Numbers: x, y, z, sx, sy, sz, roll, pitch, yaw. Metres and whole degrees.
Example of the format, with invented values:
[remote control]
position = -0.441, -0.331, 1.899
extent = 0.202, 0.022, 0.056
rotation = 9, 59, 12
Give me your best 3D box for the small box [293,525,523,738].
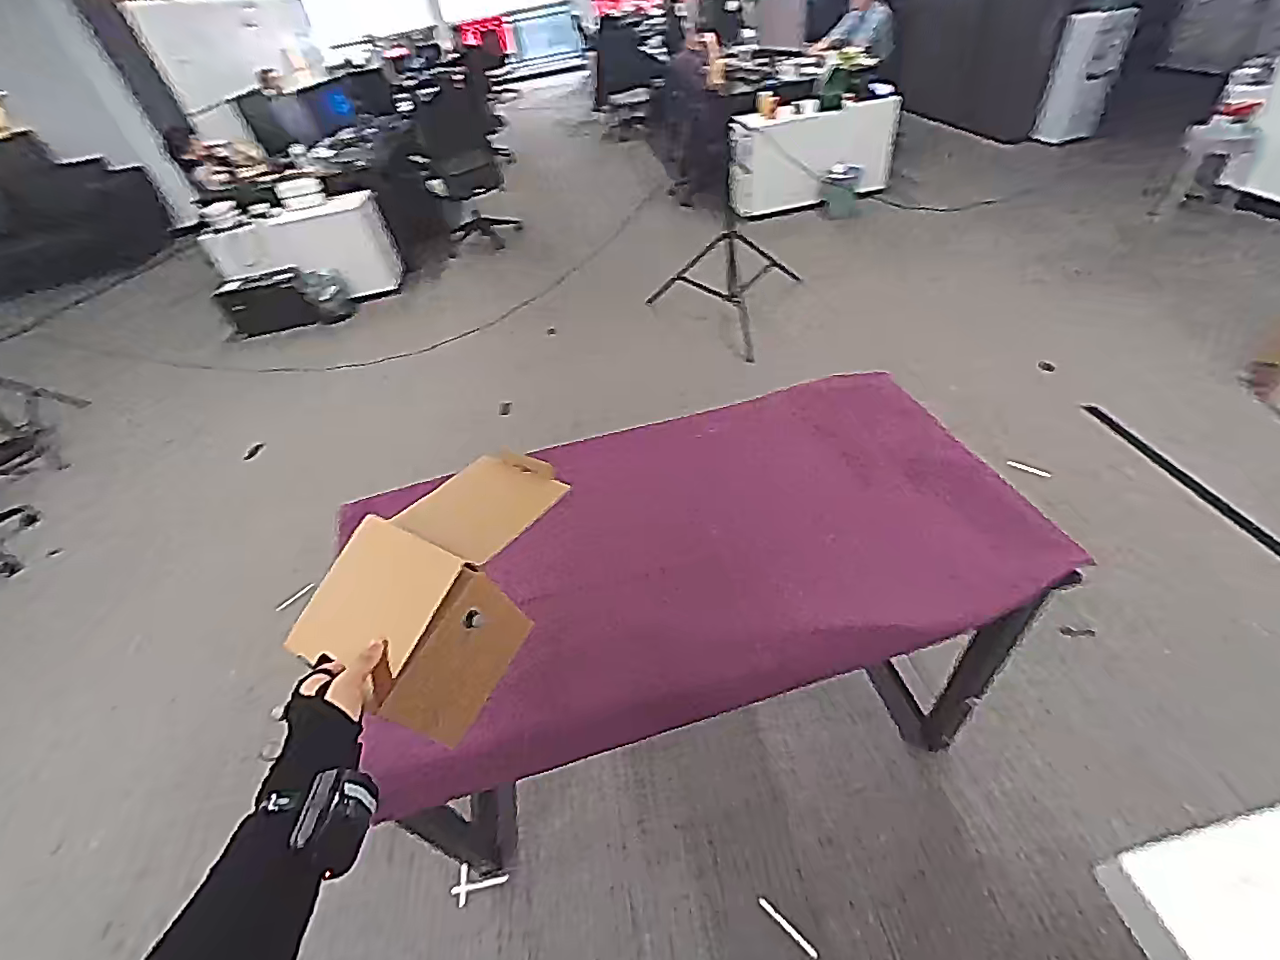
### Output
[small box]
position = -0.272, 0.190, 0.682
extent = 0.168, 0.176, 0.179
rotation = 16, 59, 27
